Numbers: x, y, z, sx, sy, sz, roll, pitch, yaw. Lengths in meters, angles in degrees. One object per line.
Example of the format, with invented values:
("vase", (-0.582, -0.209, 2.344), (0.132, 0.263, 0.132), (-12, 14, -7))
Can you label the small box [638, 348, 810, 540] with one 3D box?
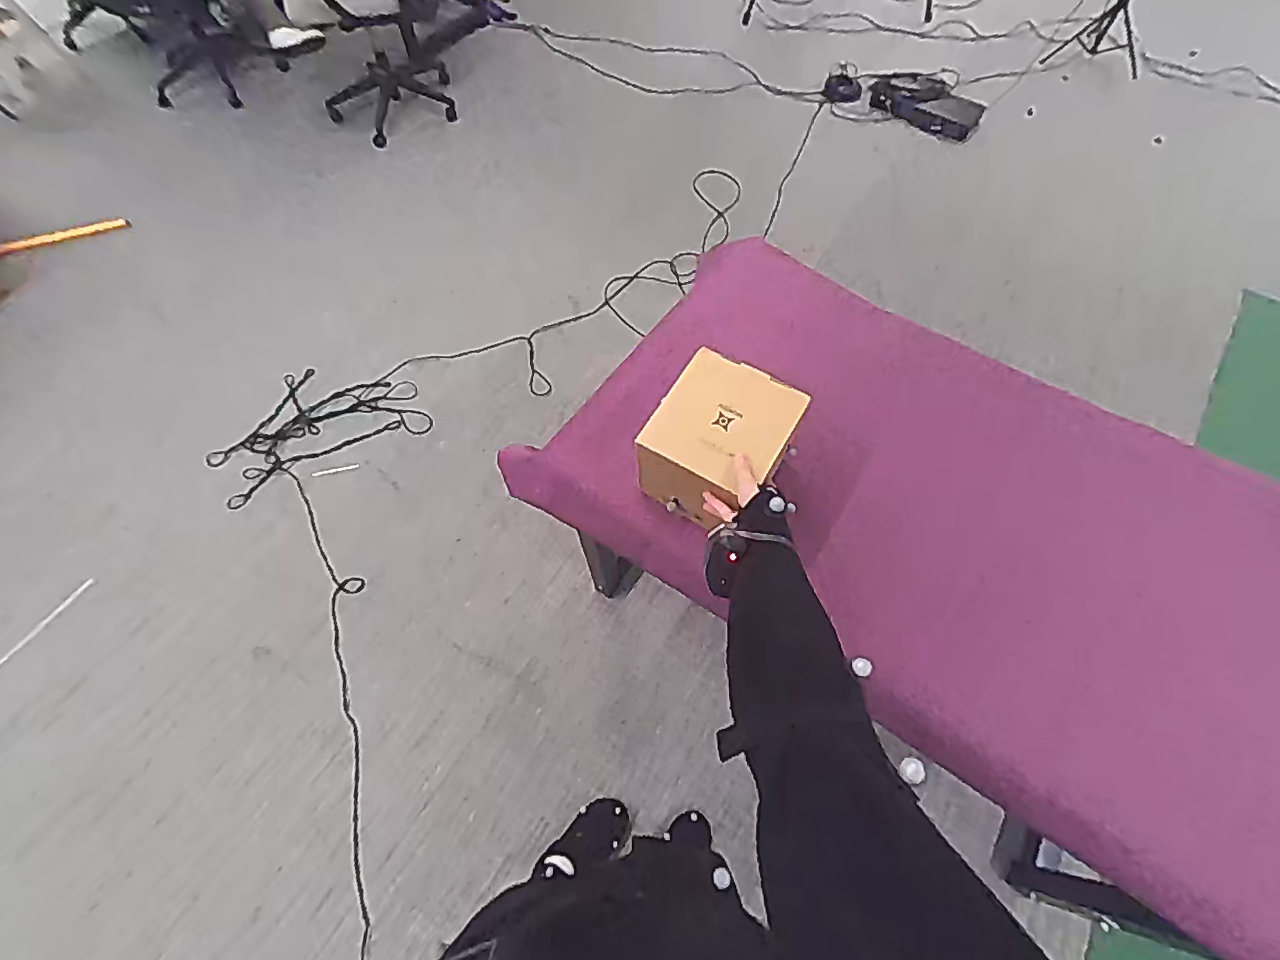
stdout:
("small box", (0.109, -0.044, 0.763), (0.168, 0.176, 0.179), (30, 70, 14))
